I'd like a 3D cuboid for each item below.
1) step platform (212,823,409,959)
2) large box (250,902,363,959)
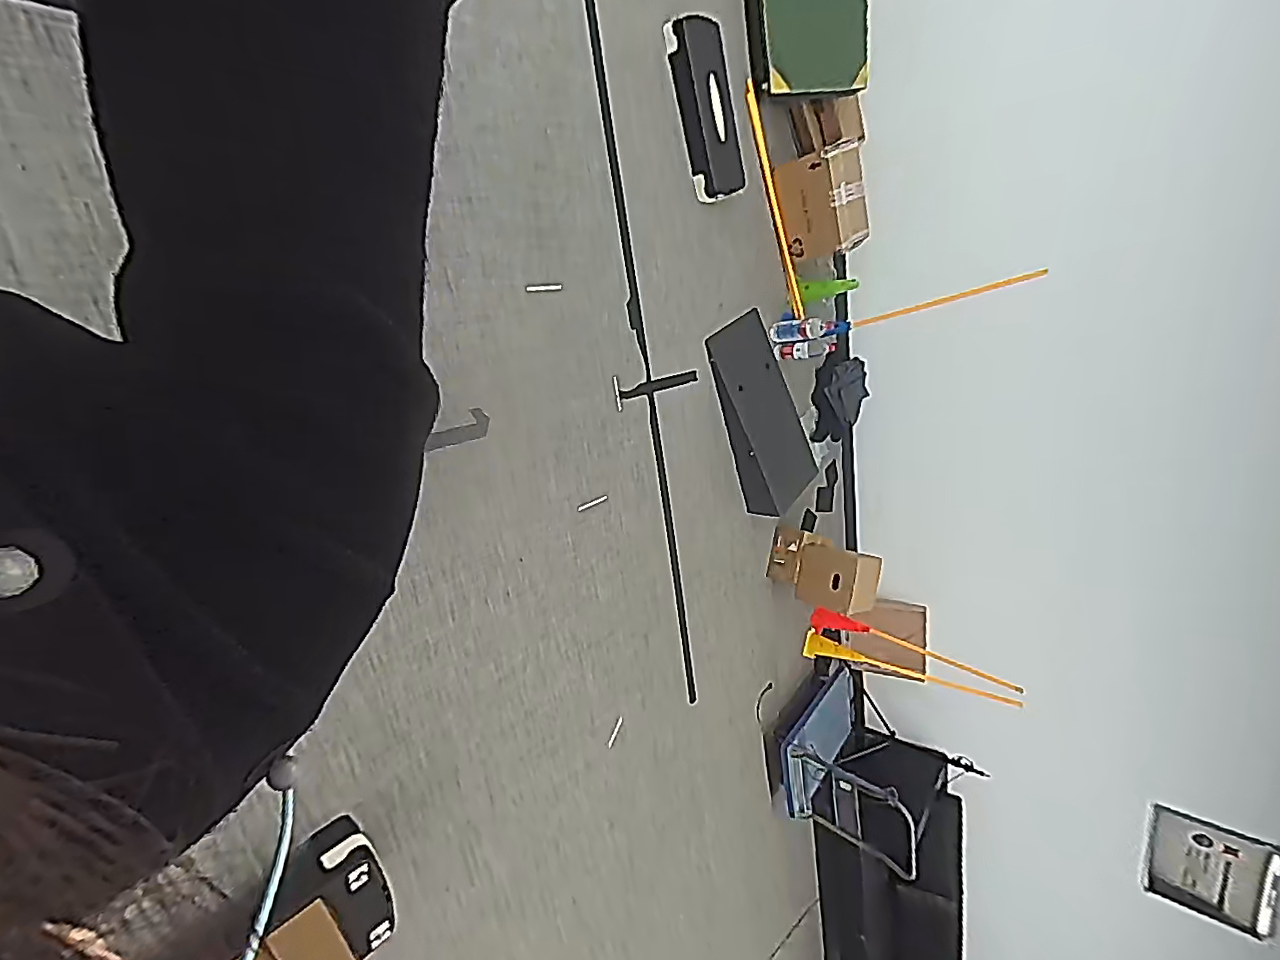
[{"bbox_3d":[-0.908,1.158,1.263,0.684,0.204,0.286,-16,106,-46],"label":"step platform"},{"bbox_3d":[-0.748,1.209,1.088,0.408,0.320,0.320,-23,111,-45],"label":"large box"}]
